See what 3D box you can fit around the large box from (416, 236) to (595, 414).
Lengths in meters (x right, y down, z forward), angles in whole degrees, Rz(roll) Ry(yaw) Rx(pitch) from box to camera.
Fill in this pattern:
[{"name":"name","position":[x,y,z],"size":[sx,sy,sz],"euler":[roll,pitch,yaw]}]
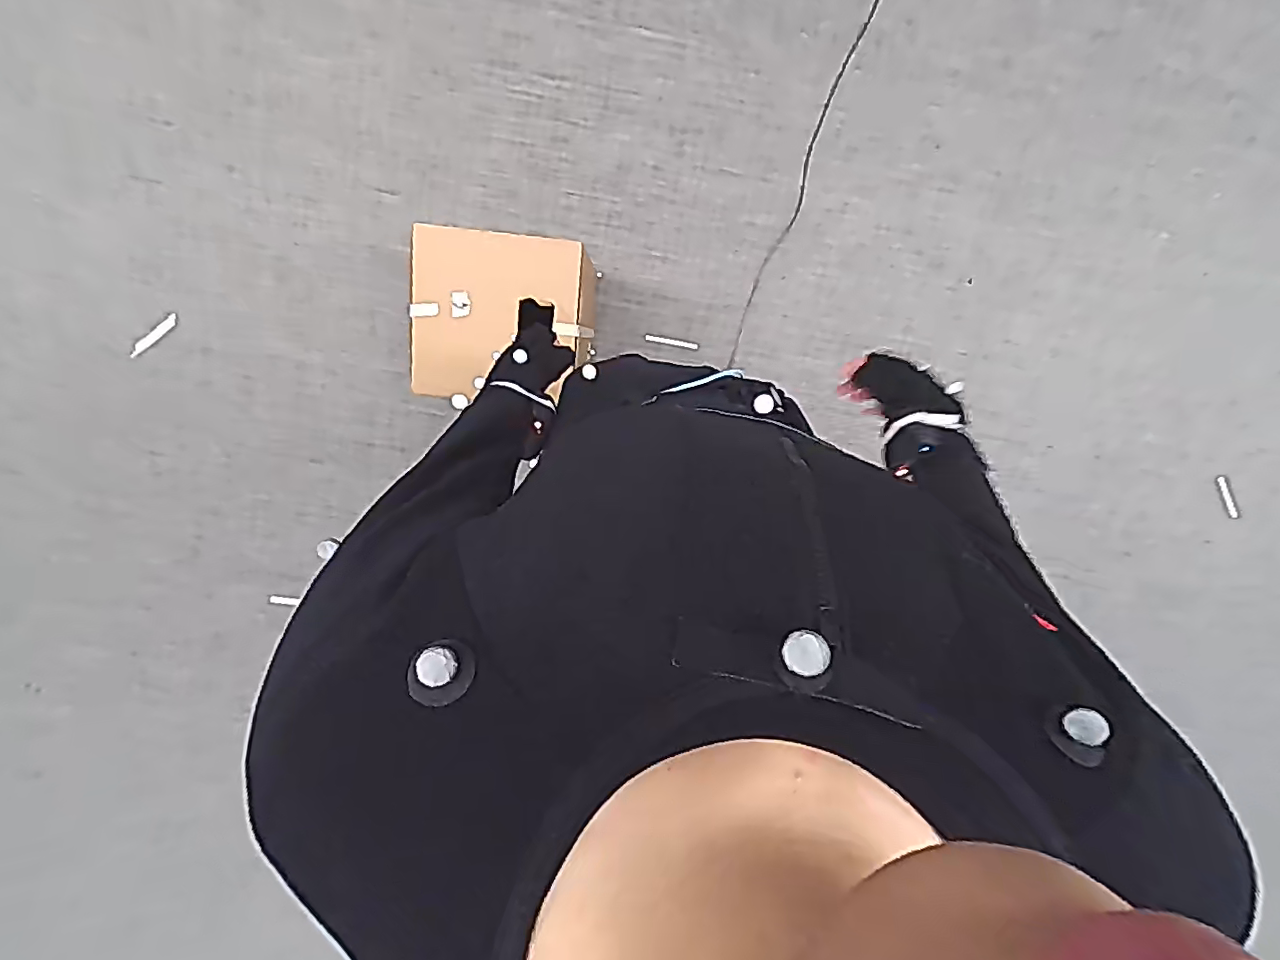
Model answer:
[{"name":"large box","position":[-0.278,-0.344,1.216],"size":[0.320,0.408,0.320],"euler":[6,105,-3]}]
